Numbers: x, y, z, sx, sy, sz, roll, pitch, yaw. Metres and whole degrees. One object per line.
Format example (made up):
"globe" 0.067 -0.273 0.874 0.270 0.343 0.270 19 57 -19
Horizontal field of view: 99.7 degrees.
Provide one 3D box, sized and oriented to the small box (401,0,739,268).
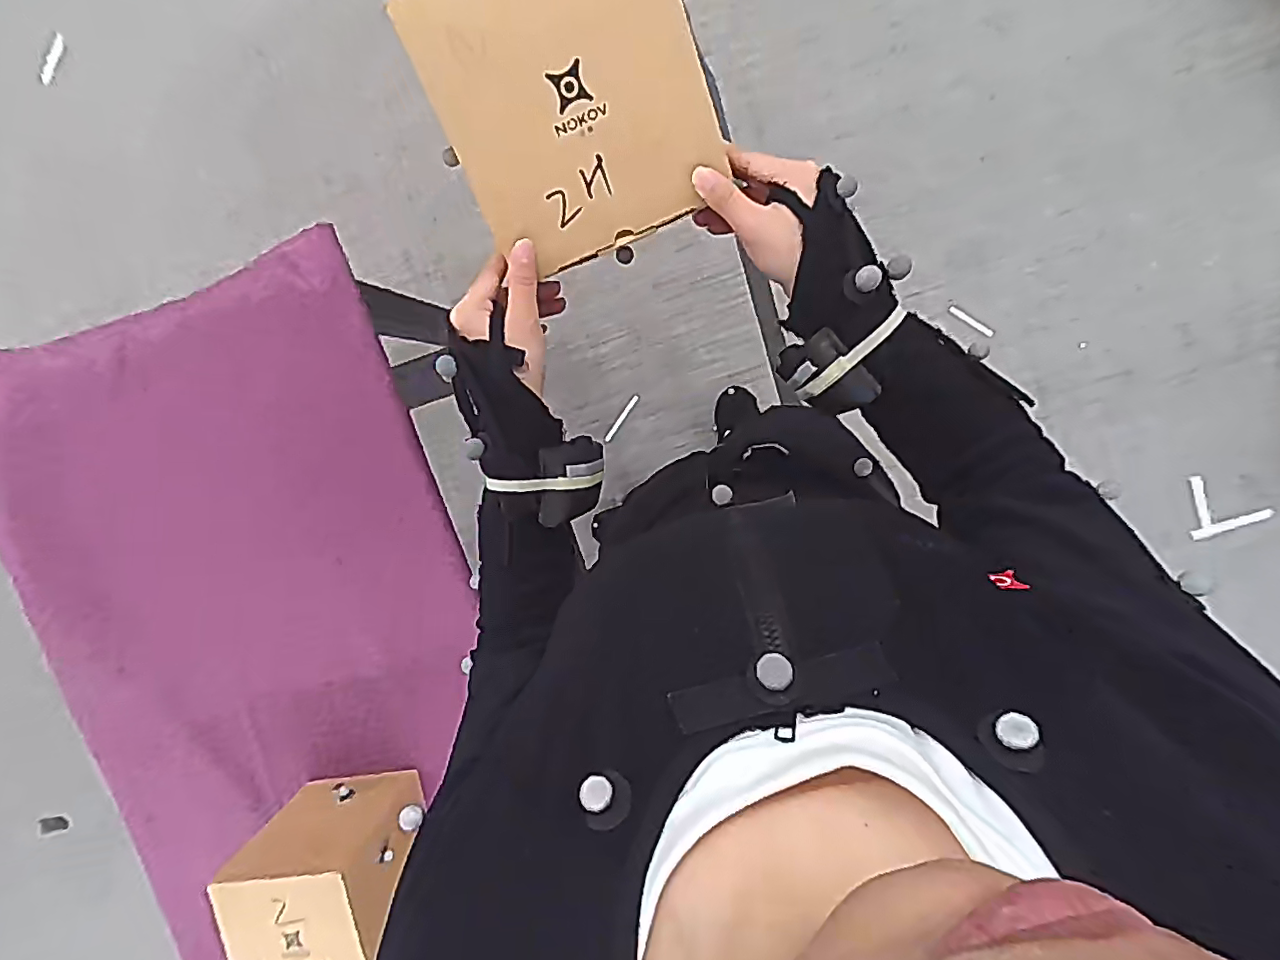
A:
"small box" -0.044 -0.276 0.411 0.168 0.176 0.179 -21 112 5
